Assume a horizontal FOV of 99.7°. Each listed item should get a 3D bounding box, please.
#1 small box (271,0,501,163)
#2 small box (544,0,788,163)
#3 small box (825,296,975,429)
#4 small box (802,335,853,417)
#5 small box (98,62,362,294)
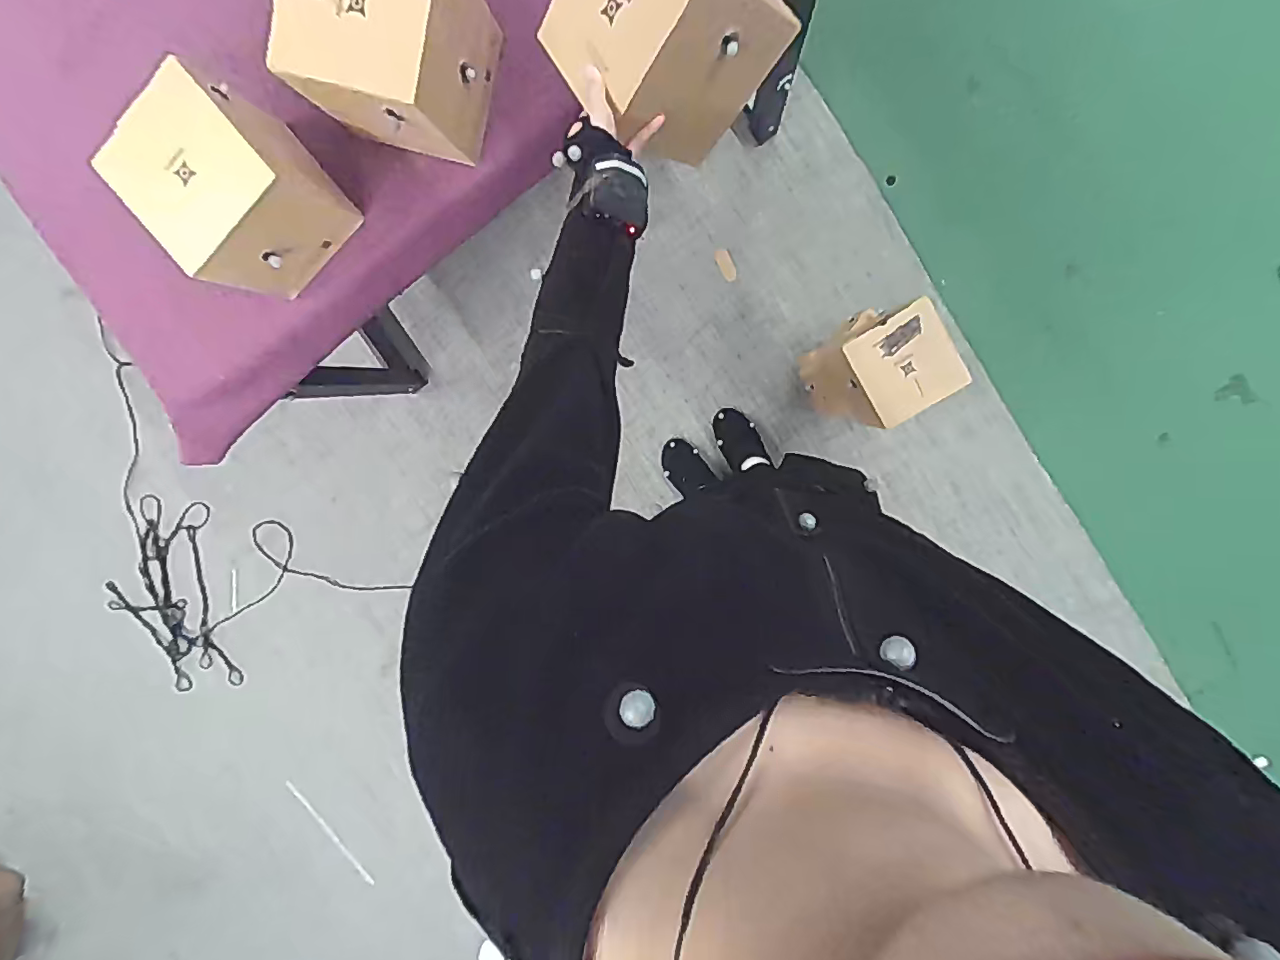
[{"bbox_3d":[-0.286,-0.507,0.642,0.179,0.176,0.168,17,100,4],"label":"small box"},{"bbox_3d":[0.034,-0.485,0.584,0.179,0.176,0.168,-40,76,43],"label":"small box"},{"bbox_3d":[0.474,-0.215,1.016,0.168,0.176,0.179,-31,96,10],"label":"small box"},{"bbox_3d":[0.514,-0.266,1.339,0.179,0.176,0.168,-22,97,10],"label":"small box"},{"bbox_3d":[-0.506,-0.362,0.694,0.168,0.176,0.179,-40,92,11],"label":"small box"}]
